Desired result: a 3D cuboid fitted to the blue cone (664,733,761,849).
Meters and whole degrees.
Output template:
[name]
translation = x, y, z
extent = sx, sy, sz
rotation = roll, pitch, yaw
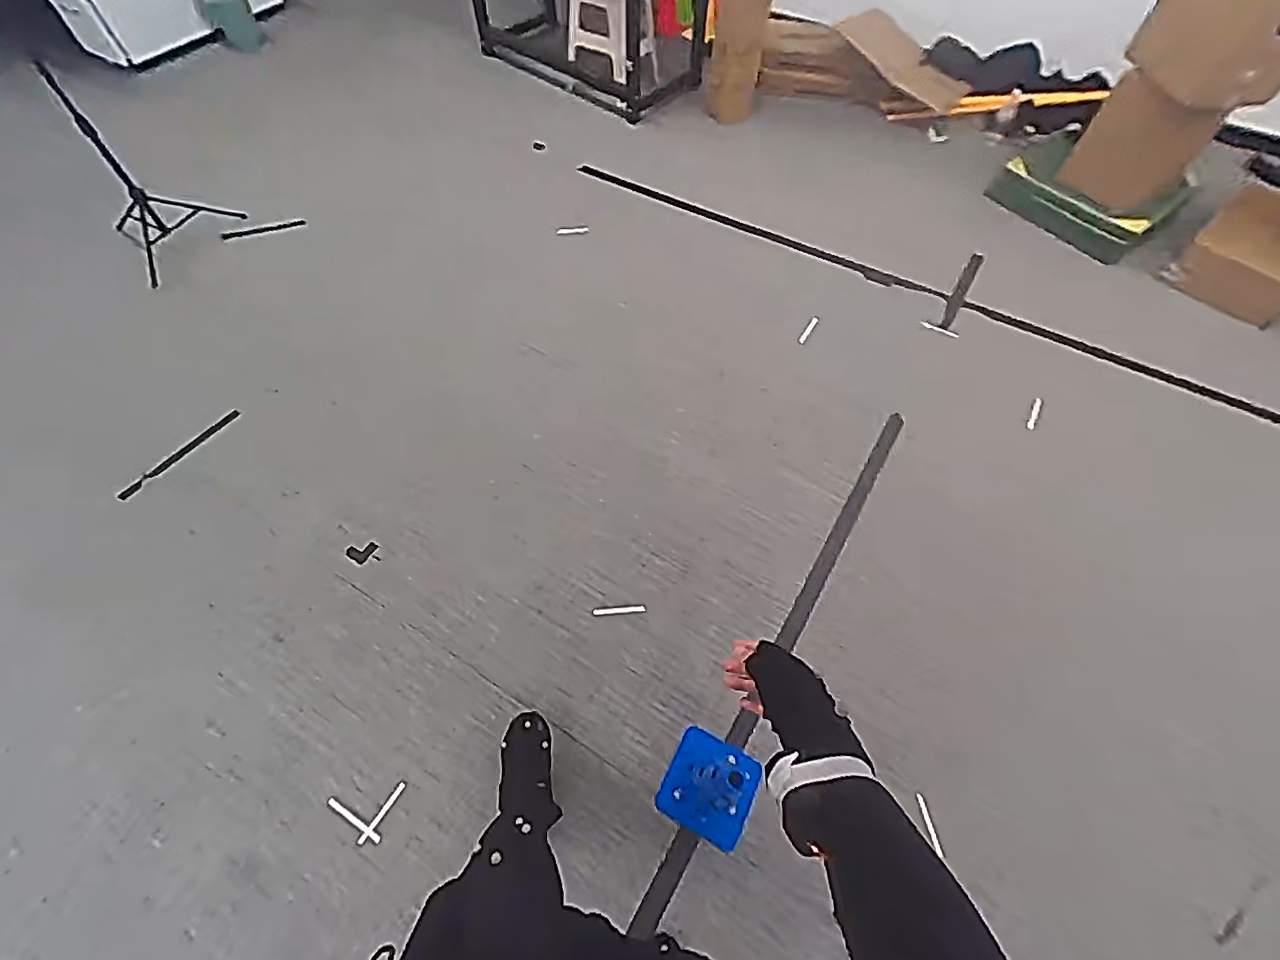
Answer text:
[blue cone]
translation = 0.168, 0.615, 1.077
extent = 0.192, 0.380, 0.193
rotation = 24, 62, 13
